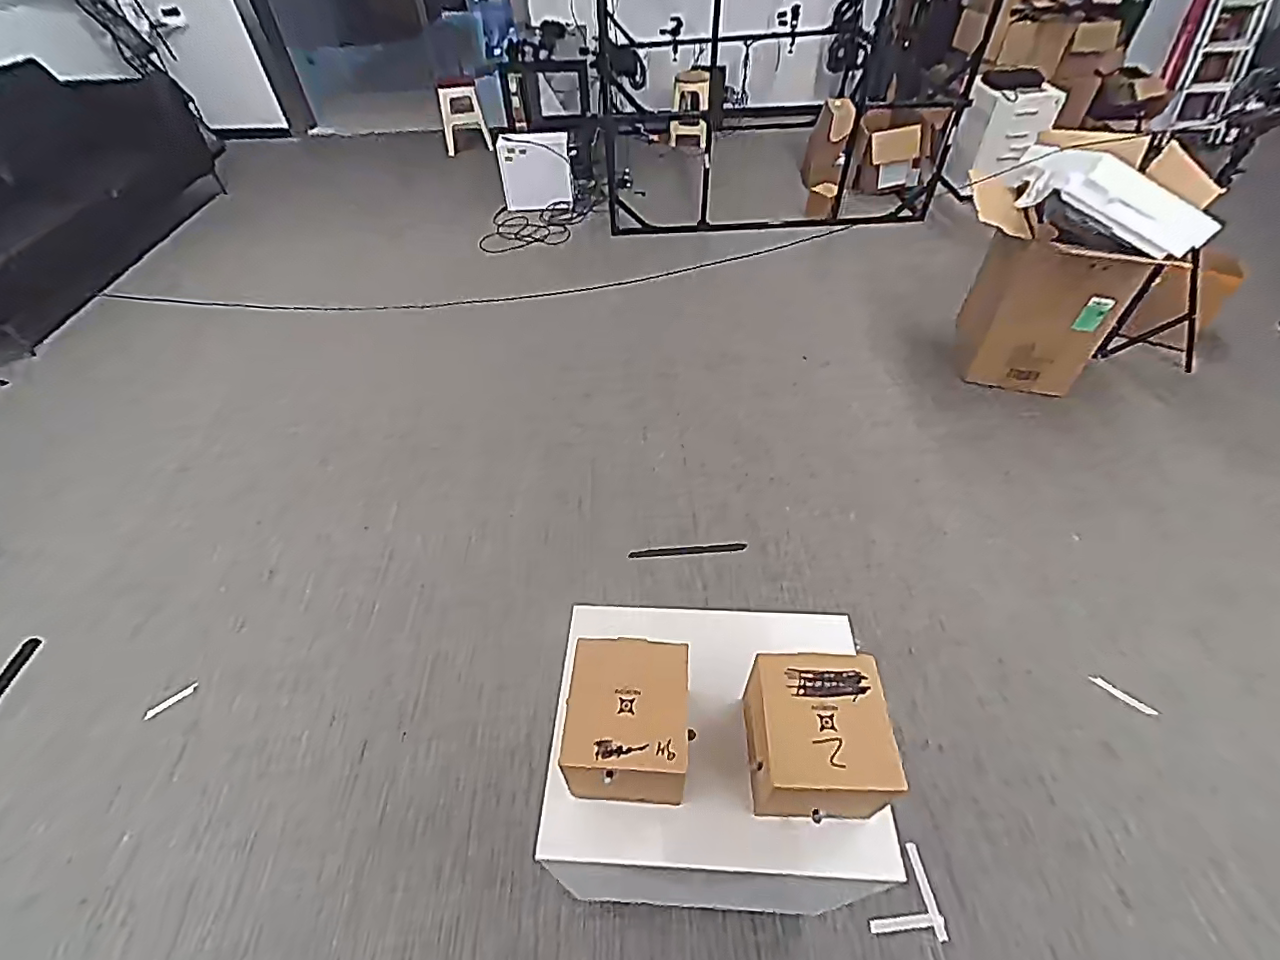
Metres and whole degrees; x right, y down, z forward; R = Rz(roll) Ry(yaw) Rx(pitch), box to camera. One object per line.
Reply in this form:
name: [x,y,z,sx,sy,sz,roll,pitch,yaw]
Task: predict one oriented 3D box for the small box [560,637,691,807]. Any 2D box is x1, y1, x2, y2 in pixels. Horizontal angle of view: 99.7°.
small box: [-0.014,0.353,0.791,0.168,0.176,0.179,2,47,3]
